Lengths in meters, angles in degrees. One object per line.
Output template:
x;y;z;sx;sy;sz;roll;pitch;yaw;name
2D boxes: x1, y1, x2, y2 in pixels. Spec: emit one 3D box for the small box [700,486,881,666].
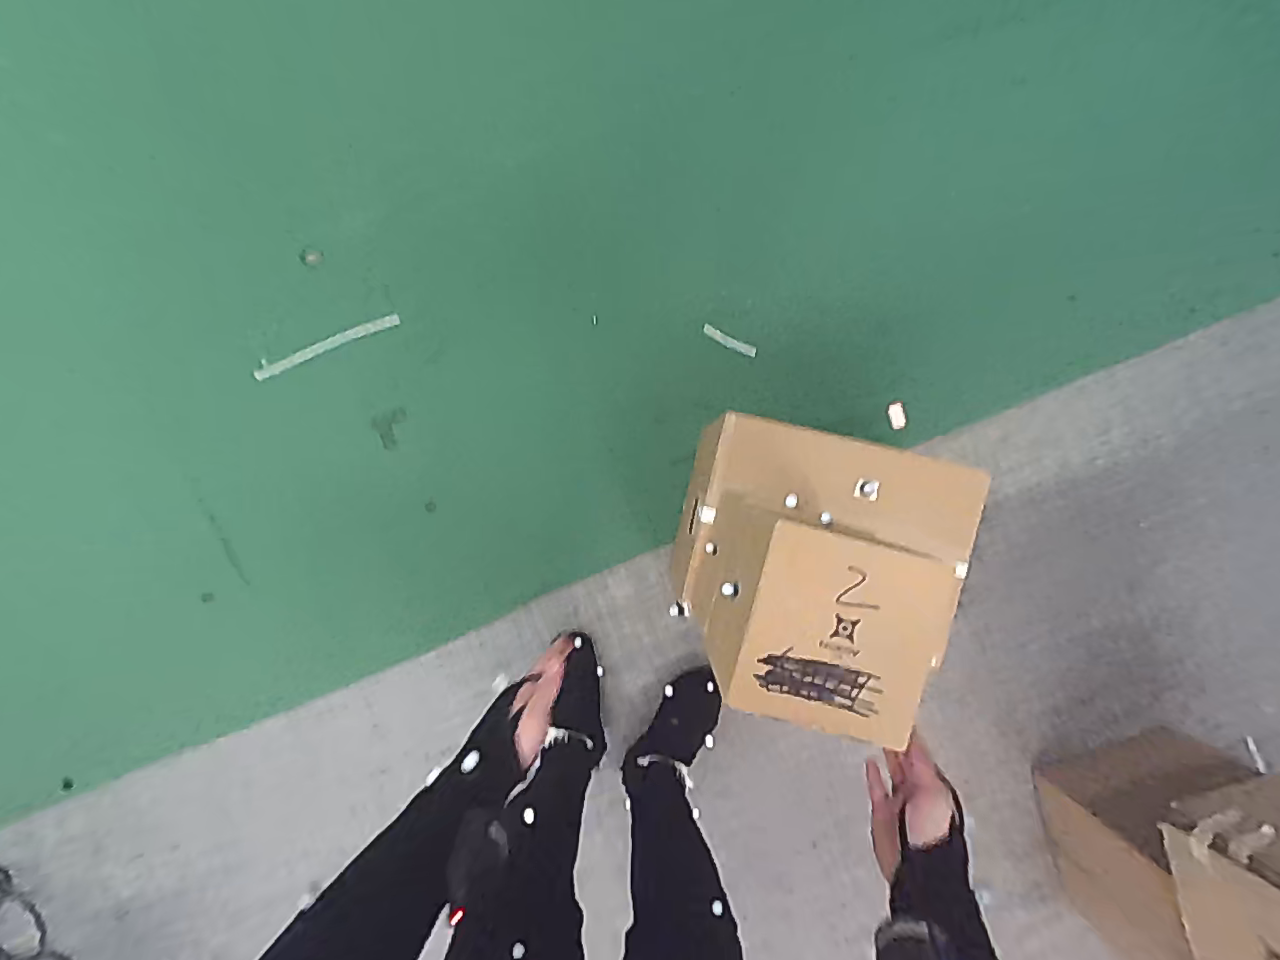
0.184;0.115;0.719;0.168;0.176;0.179;16;91;-1;small box
